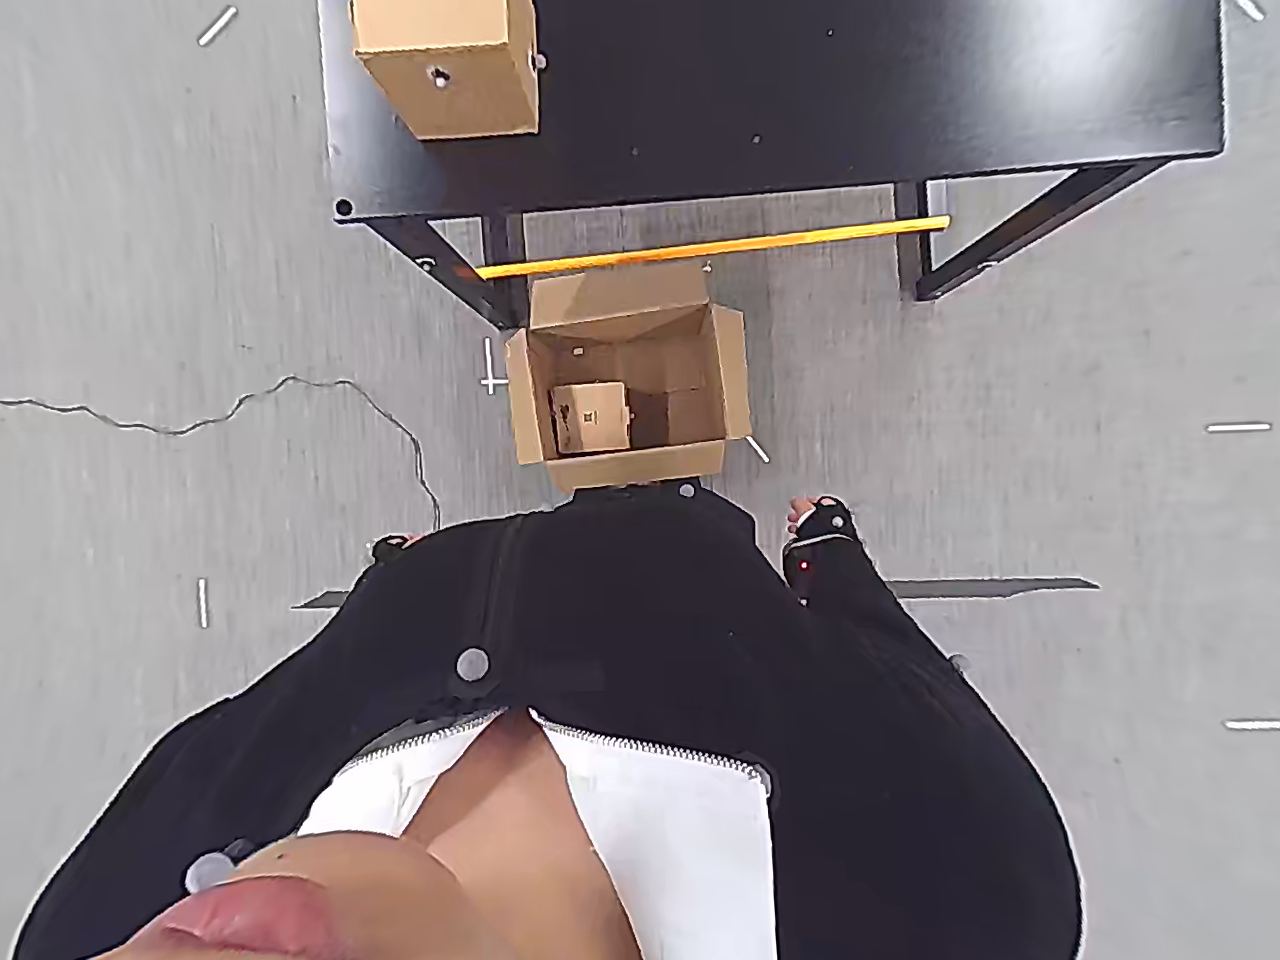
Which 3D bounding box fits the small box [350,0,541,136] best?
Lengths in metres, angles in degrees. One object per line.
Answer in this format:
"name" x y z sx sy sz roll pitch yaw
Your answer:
"small box" -0.229 -0.553 0.664 0.179 0.176 0.168 -3 93 1
